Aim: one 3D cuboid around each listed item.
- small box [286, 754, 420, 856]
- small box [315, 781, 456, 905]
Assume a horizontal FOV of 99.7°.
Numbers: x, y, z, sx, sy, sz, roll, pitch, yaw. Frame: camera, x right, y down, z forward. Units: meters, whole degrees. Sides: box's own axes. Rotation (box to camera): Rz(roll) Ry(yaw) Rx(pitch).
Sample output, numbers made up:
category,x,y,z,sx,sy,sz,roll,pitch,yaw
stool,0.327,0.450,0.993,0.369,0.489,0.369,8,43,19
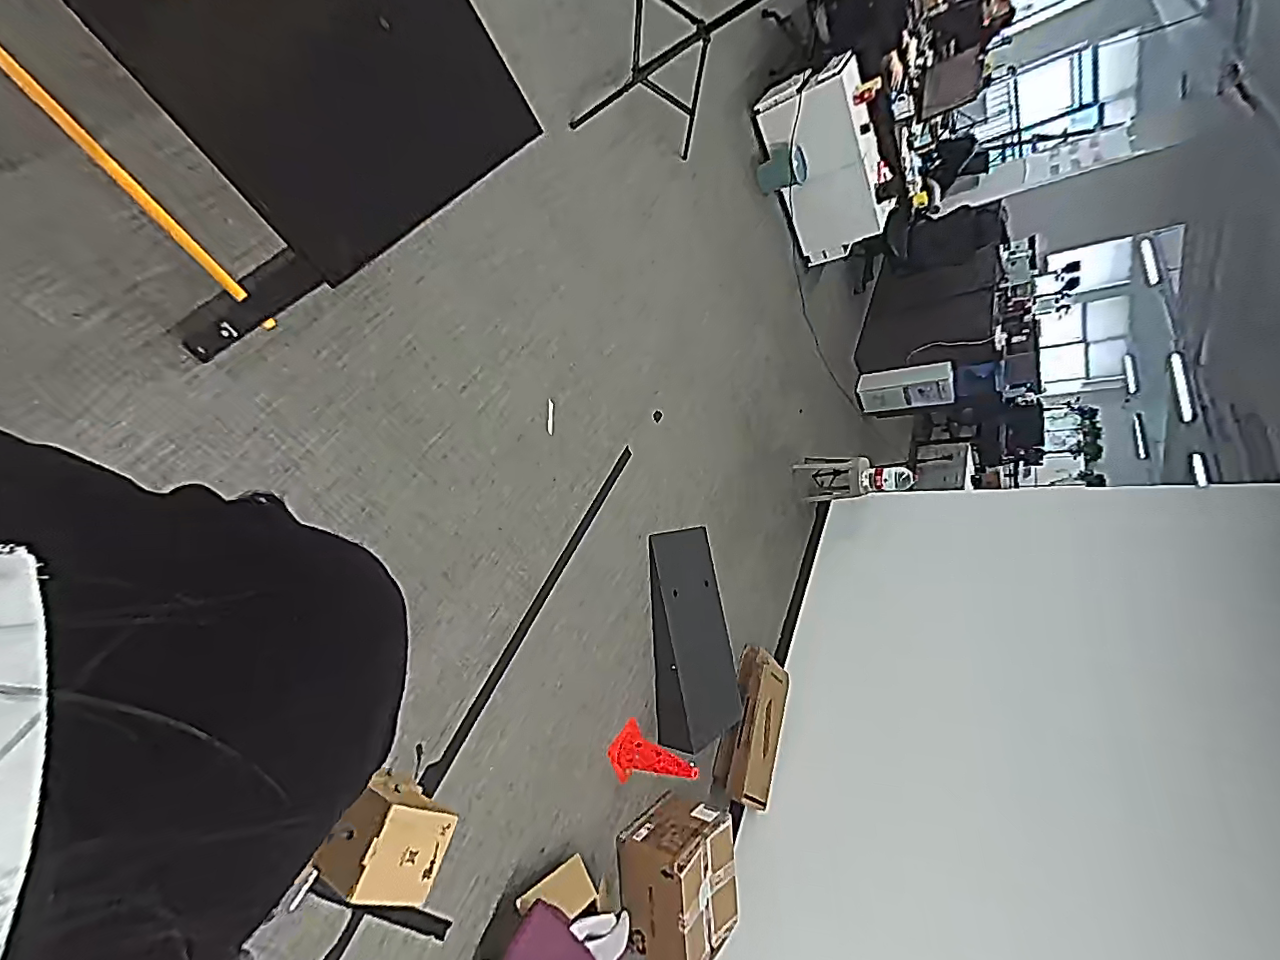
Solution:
category,x,y,z,sx,sy,sz,roll,pitch,yaw
small box,-0.651,0.747,1.232,0.179,0.176,0.168,48,51,-39
small box,-0.528,0.747,1.122,0.179,0.176,0.168,46,53,-40
